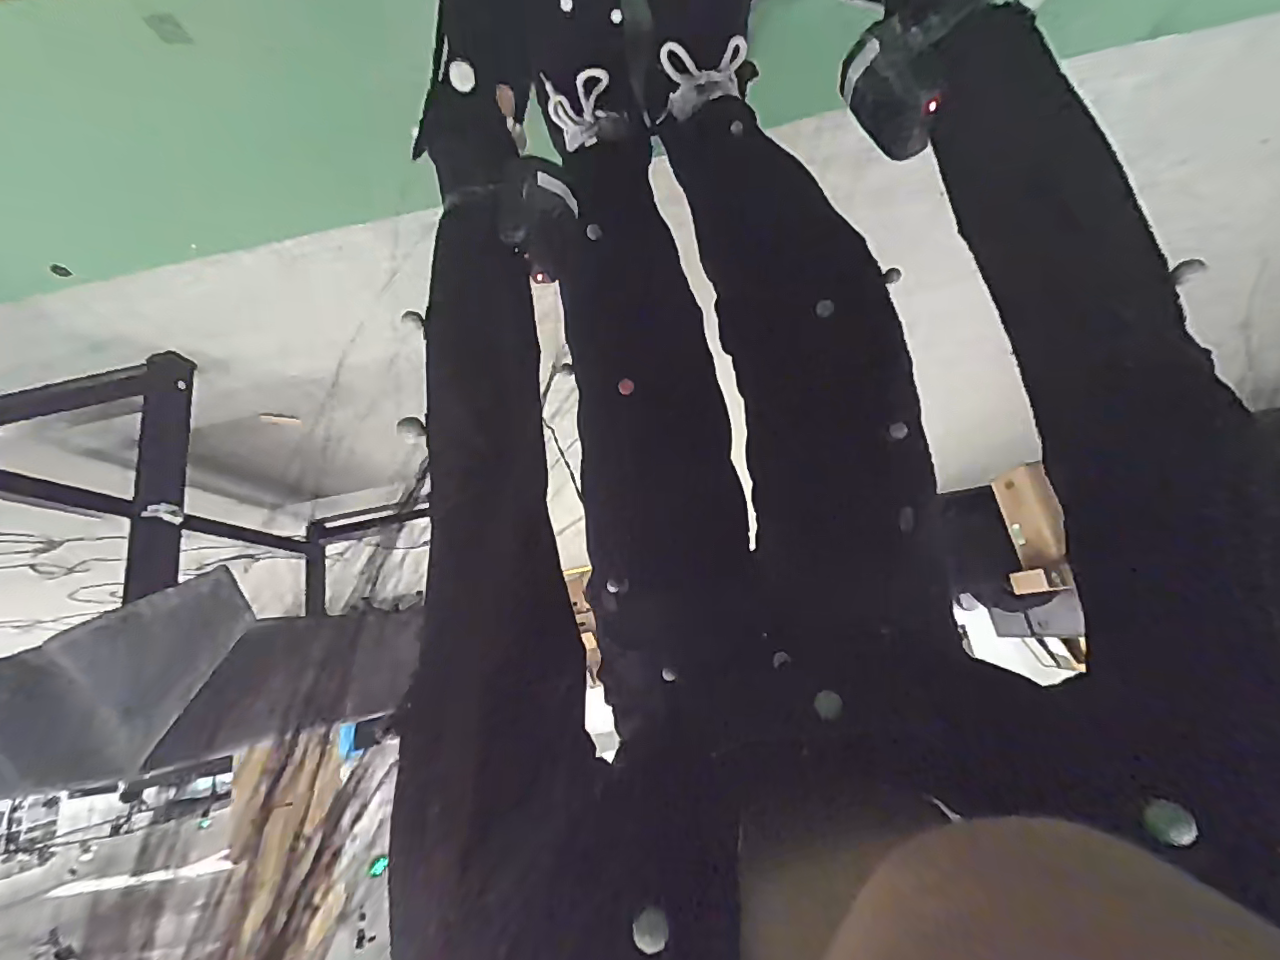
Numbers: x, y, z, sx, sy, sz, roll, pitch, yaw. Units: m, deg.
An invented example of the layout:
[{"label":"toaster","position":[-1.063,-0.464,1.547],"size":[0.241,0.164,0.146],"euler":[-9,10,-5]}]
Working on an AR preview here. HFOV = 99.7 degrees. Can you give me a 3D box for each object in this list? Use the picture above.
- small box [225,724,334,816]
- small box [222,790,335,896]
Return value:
[{"label":"small box","position":[-0.912,0.734,1.385],"size":[0.179,0.176,0.168],"euler":[-11,163,3]},{"label":"small box","position":[-0.888,0.889,1.341],"size":[0.168,0.176,0.179],"euler":[-10,163,5]}]
